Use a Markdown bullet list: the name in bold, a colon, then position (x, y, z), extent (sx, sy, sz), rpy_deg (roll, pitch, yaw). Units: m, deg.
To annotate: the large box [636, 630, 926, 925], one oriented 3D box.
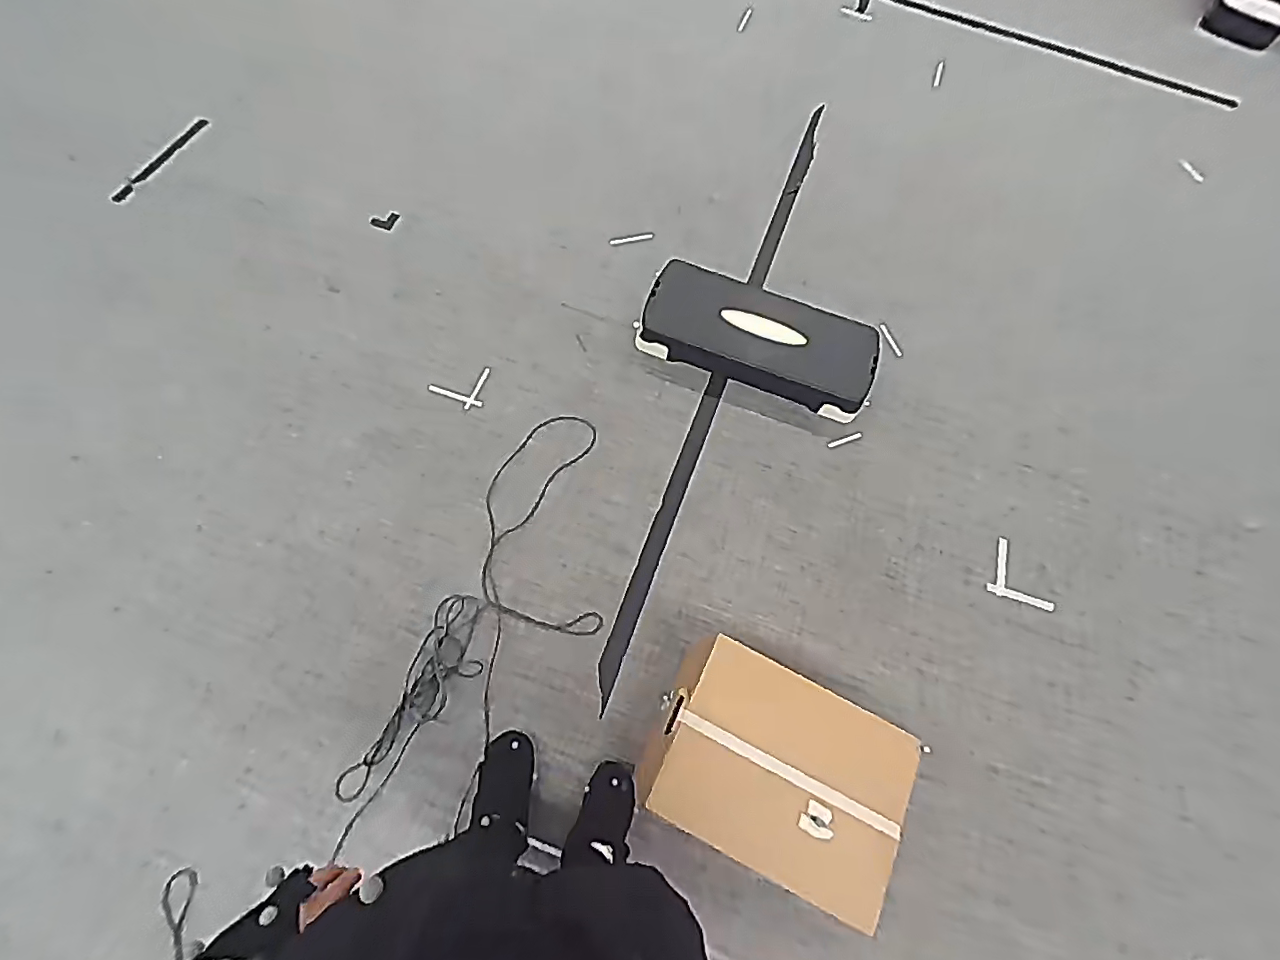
- **large box**: position (0.243, 0.533, 1.042), extent (0.408, 0.320, 0.320), rpy_deg (27, 69, 5)
